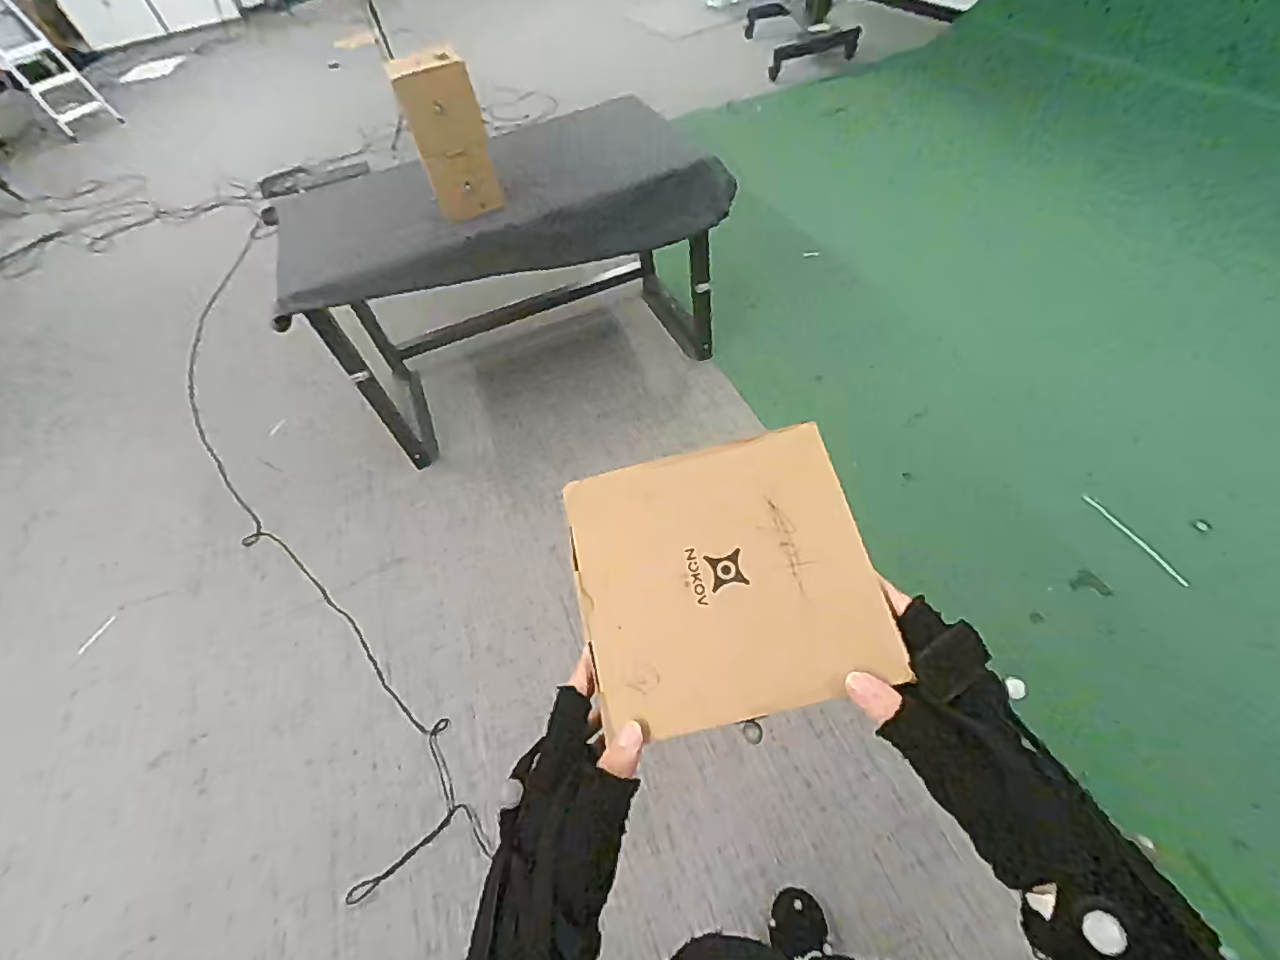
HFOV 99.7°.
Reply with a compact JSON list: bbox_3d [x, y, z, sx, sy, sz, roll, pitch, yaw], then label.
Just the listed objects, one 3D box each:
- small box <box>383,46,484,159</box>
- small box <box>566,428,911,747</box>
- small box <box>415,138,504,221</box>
[{"bbox_3d":[-0.497,-0.923,1.324,0.179,0.176,0.168,-23,53,-7],"label":"small box"},{"bbox_3d":[0.059,0.087,0.406,0.179,0.176,0.168,-15,68,-1],"label":"small box"},{"bbox_3d":[-0.484,-0.824,1.456,0.168,0.176,0.179,-23,54,-9],"label":"small box"}]
